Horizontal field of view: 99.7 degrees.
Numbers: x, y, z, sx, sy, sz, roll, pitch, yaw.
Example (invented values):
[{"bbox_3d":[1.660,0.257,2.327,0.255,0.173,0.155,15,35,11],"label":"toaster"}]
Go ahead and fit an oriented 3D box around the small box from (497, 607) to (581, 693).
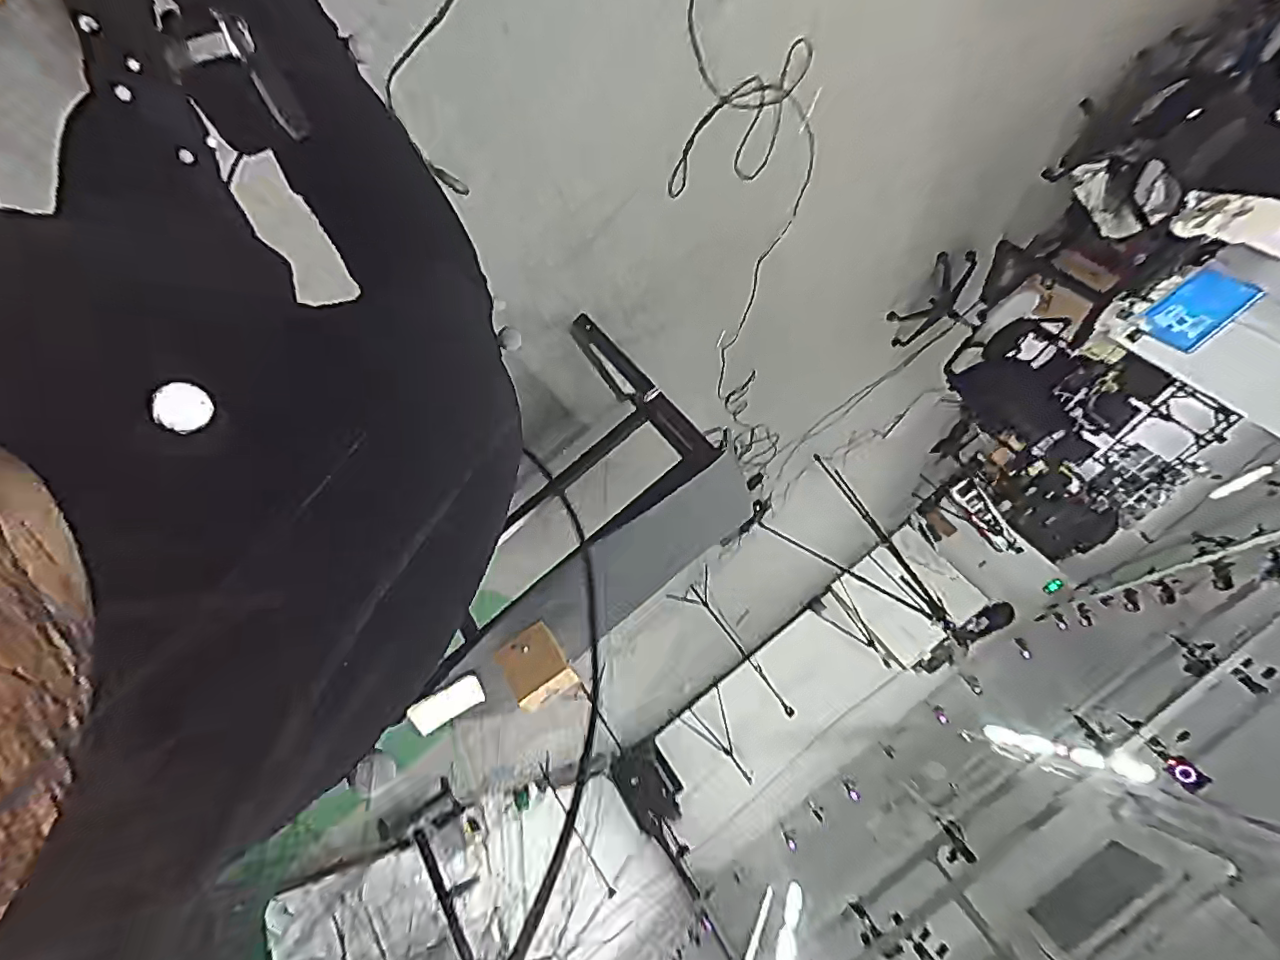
[{"bbox_3d":[-0.297,0.503,1.608,0.168,0.176,0.179,-33,153,-13],"label":"small box"}]
